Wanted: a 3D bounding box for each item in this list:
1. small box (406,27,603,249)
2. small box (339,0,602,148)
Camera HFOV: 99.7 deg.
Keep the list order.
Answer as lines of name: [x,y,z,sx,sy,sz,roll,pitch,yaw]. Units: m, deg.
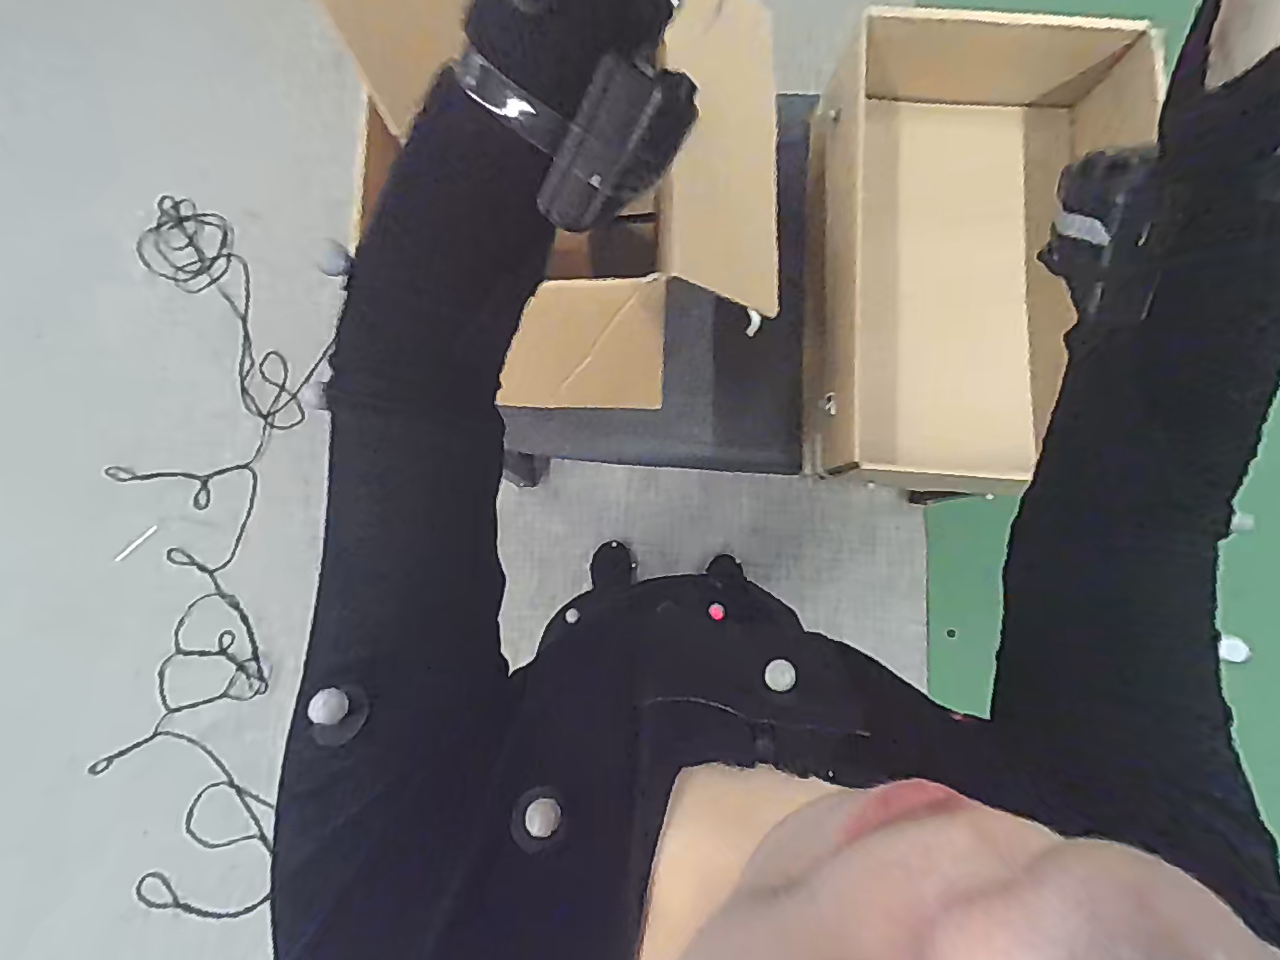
small box: [-0.130,-0.383,0.588,0.168,0.176,0.179,5,85,-1]
small box: [-0.128,-0.399,0.427,0.179,0.176,0.168,6,83,-1]
